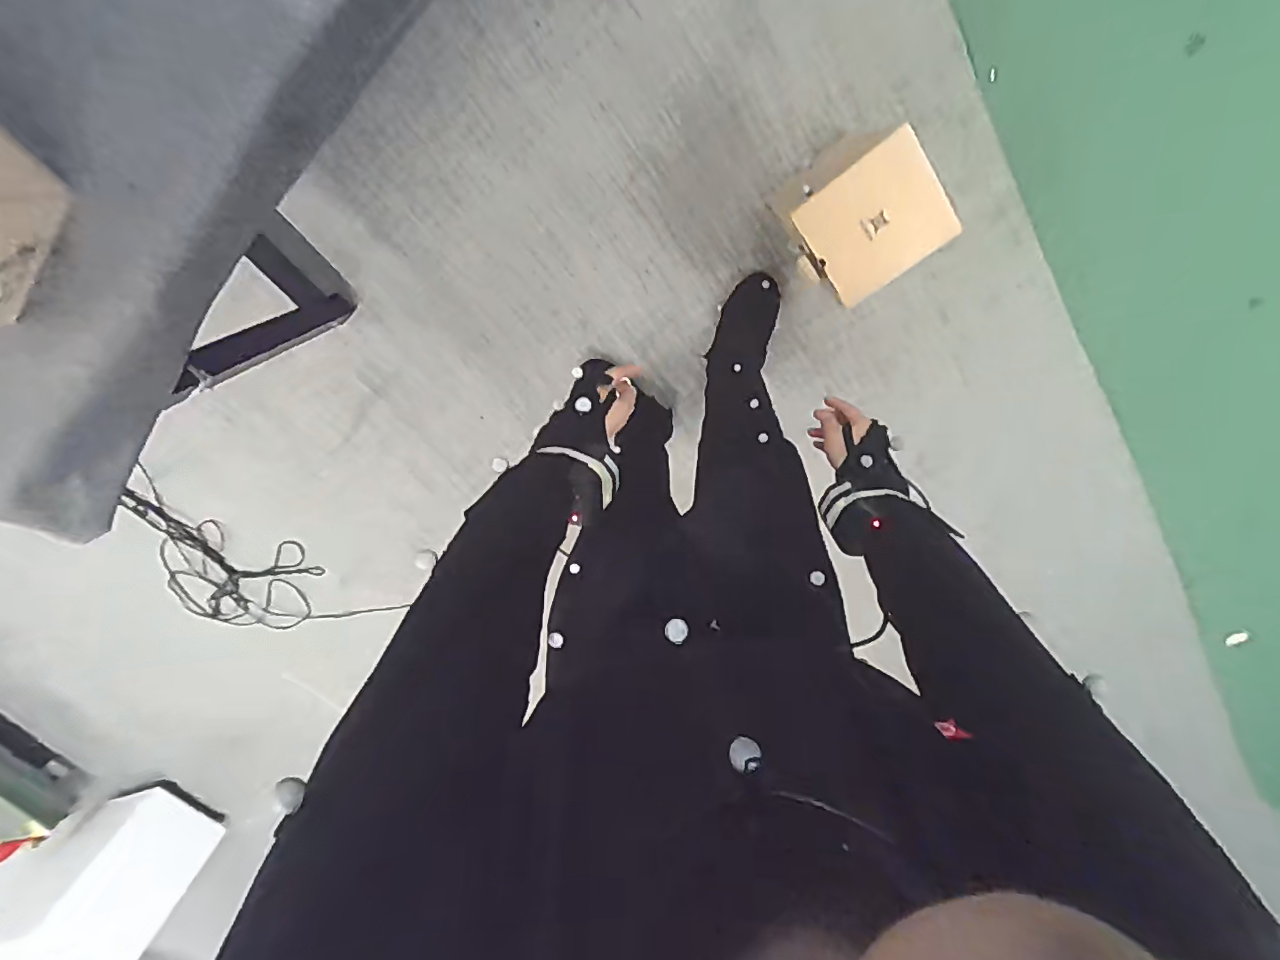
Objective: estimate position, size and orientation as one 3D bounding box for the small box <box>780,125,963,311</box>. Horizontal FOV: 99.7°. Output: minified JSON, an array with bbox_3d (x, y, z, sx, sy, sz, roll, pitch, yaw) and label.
[{"bbox_3d":[0.330,-0.390,0.804,0.179,0.176,0.168,-34,112,24],"label":"small box"}]

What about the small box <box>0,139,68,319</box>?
[{"bbox_3d":[-0.572,-0.200,0.361,0.168,0.176,0.179,-34,112,24],"label":"small box"}]
